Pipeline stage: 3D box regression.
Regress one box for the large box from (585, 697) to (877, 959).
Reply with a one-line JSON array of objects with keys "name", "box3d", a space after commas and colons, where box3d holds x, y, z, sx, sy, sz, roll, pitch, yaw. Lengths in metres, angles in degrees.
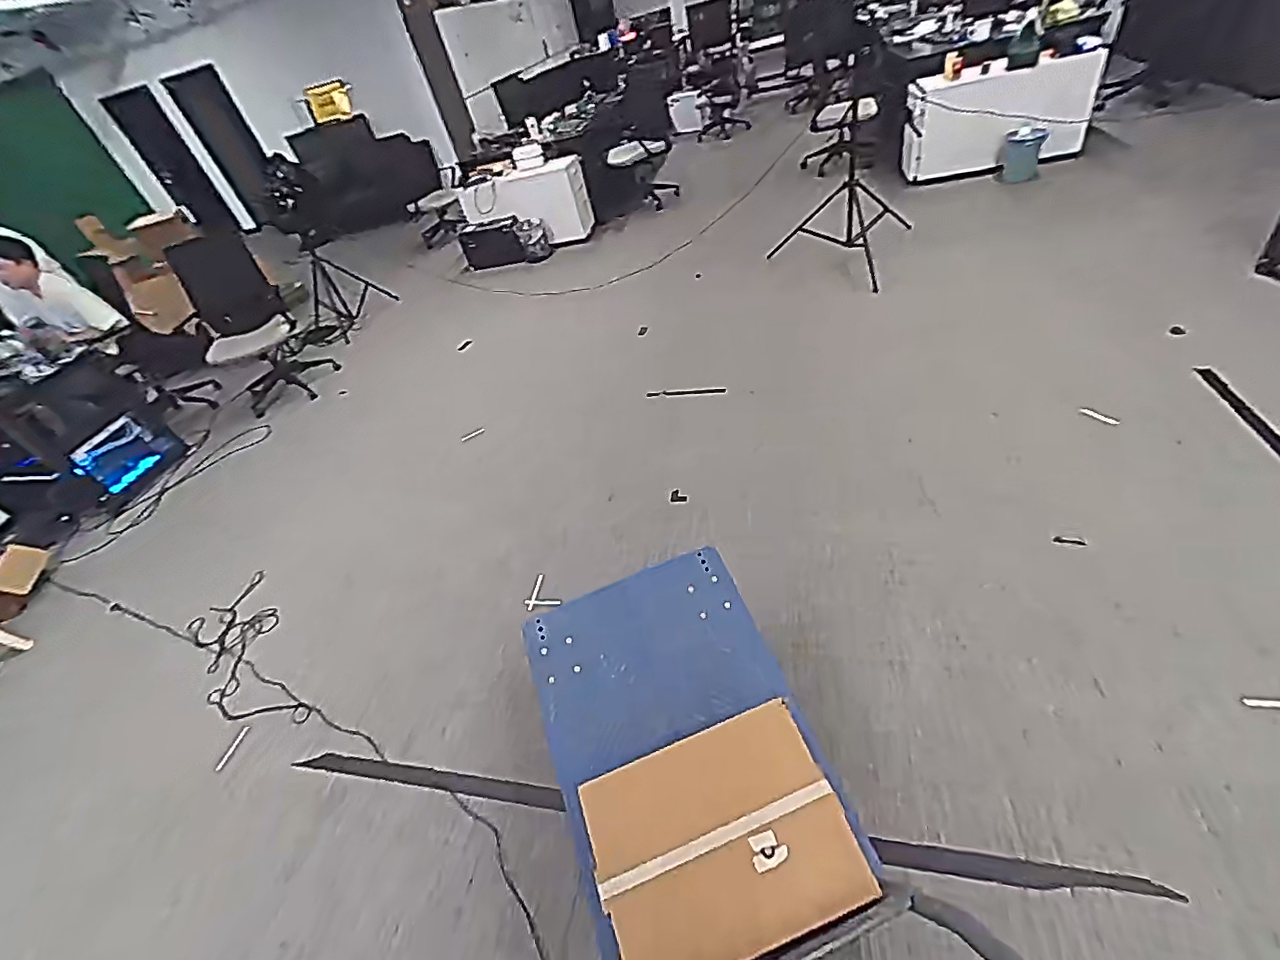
[{"name": "large box", "box3d": [0.154, 0.679, 1.022, 0.408, 0.320, 0.320, -22, 55, -6]}]
